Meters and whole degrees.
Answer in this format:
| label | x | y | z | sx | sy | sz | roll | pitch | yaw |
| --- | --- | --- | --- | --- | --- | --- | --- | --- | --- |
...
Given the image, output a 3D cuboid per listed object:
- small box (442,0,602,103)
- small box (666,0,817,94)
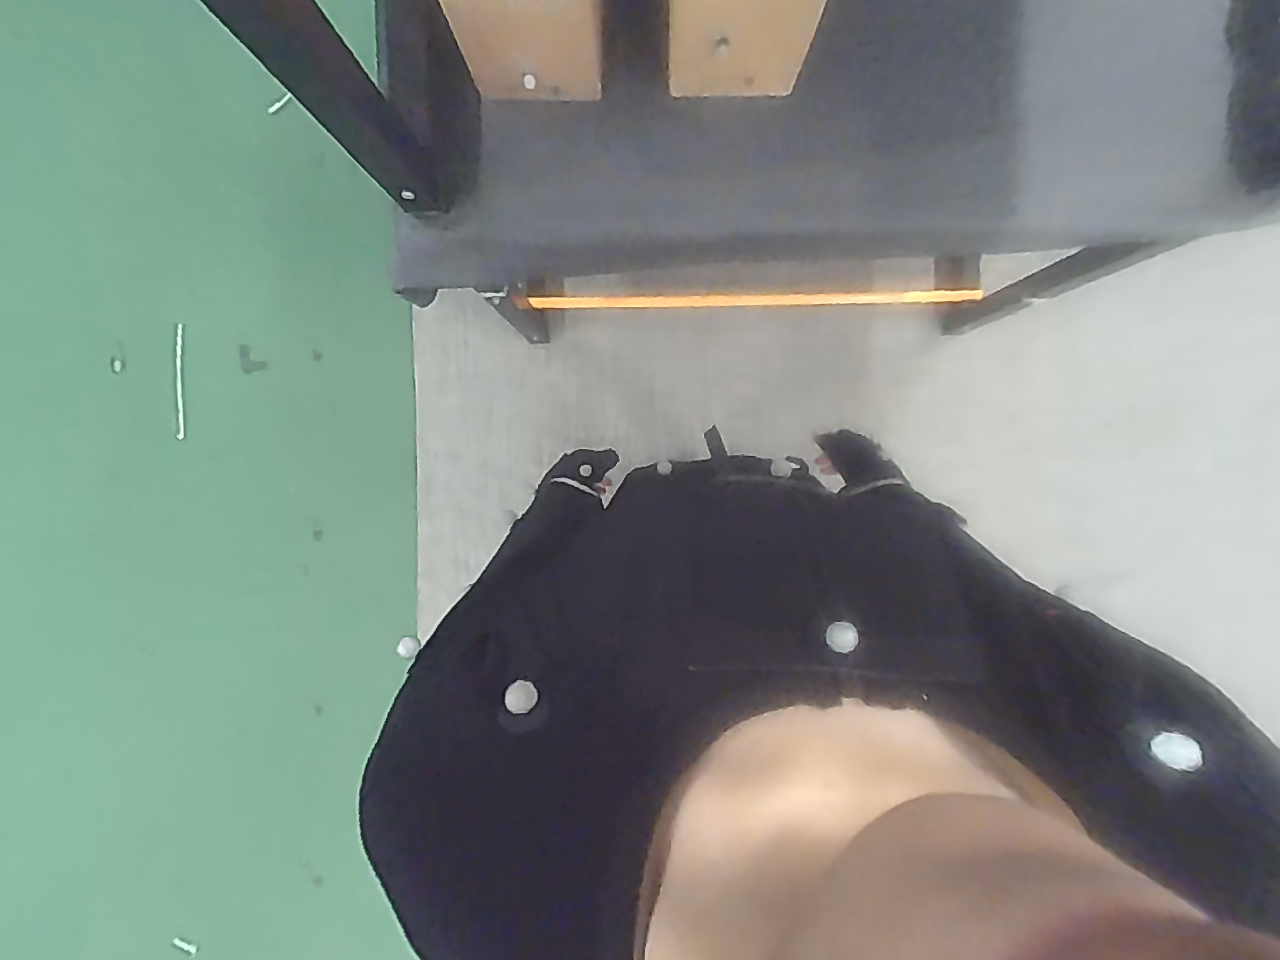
| label | x | y | z | sx | sy | sz | roll | pitch | yaw |
| --- | --- | --- | --- | --- | --- | --- | --- | --- | --- |
| small box | -0.136 | -0.601 | 0.654 | 0.168 | 0.176 | 0.179 | 0 | 92 | 1 |
| small box | 0.117 | -0.604 | 0.653 | 0.168 | 0.176 | 0.179 | 0 | 91 | 1 |
